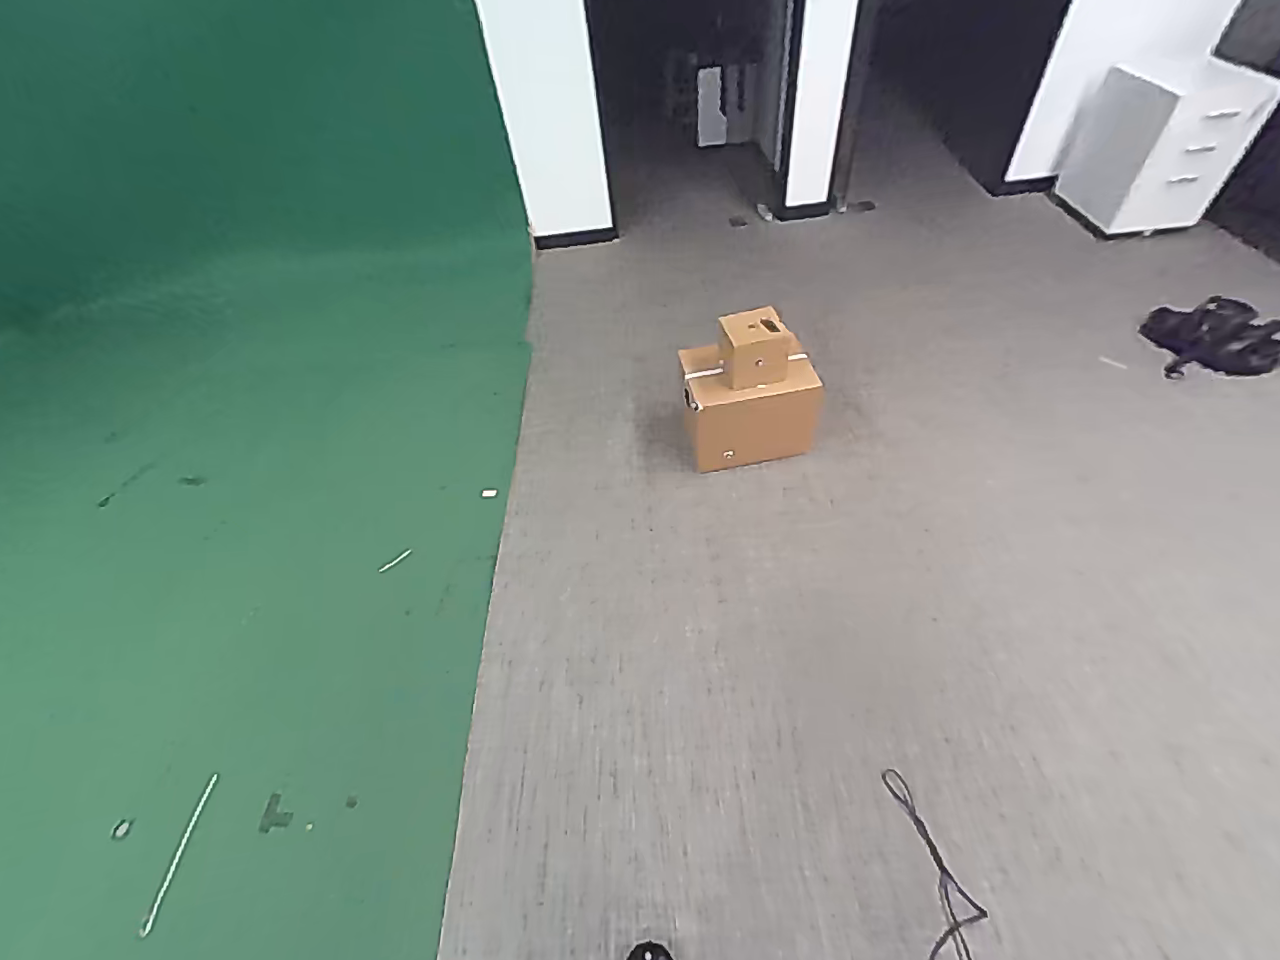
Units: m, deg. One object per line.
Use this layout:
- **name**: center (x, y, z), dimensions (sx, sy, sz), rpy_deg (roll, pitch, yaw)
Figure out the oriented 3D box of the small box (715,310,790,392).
- **small box**: center (0.344, -0.400, 1.686), dimensions (0.179, 0.176, 0.168), rpy_deg (-14, 49, -7)
